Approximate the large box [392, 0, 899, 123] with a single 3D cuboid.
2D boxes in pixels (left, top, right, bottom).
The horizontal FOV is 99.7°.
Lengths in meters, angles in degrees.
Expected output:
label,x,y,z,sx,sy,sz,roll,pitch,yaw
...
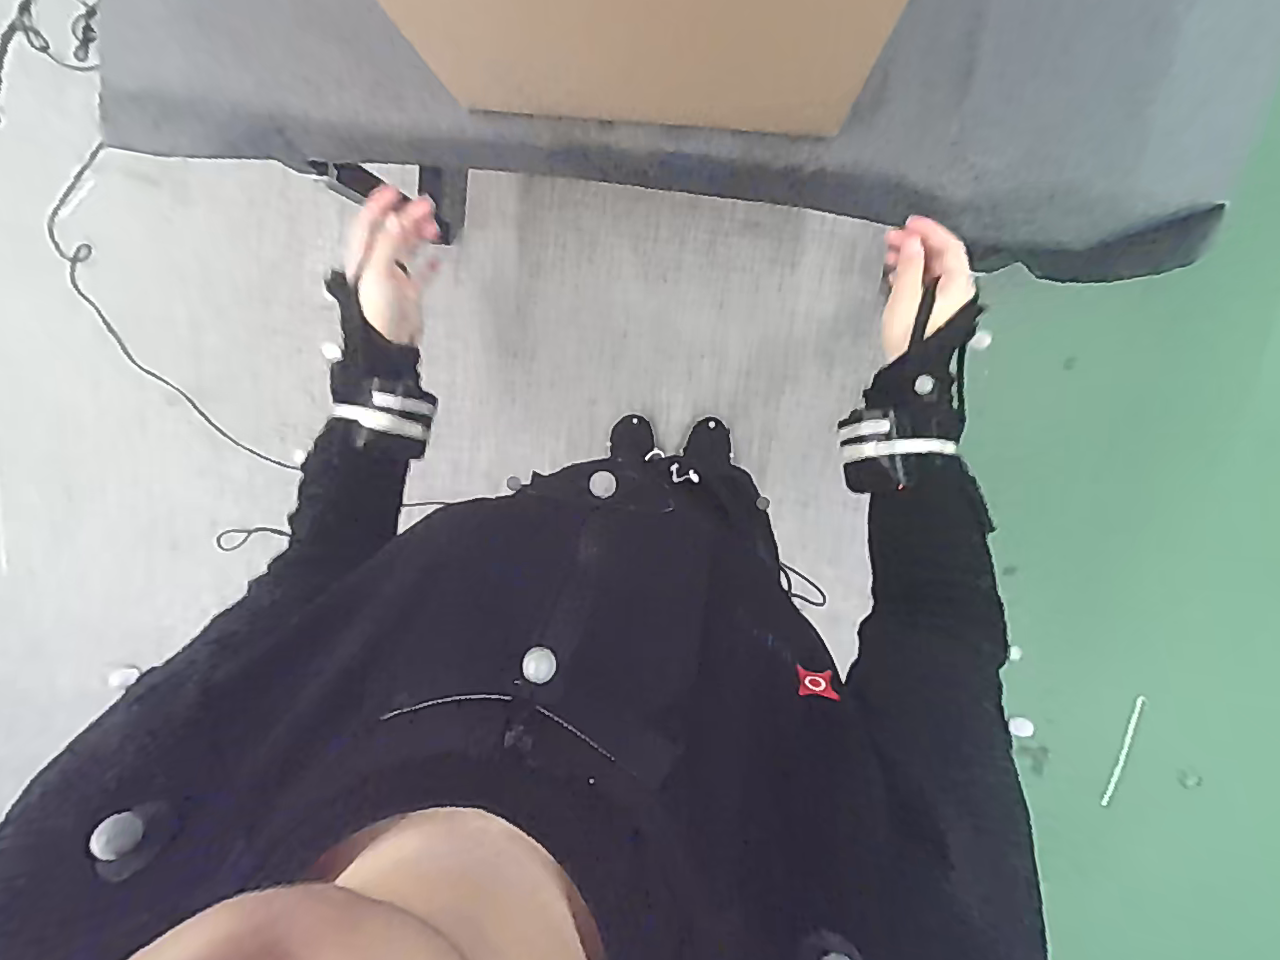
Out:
label,x,y,z,sx,sy,sz,roll,pitch,yaw
large box,0.006,-0.513,0.401,0.408,0.320,0.320,7,99,4
